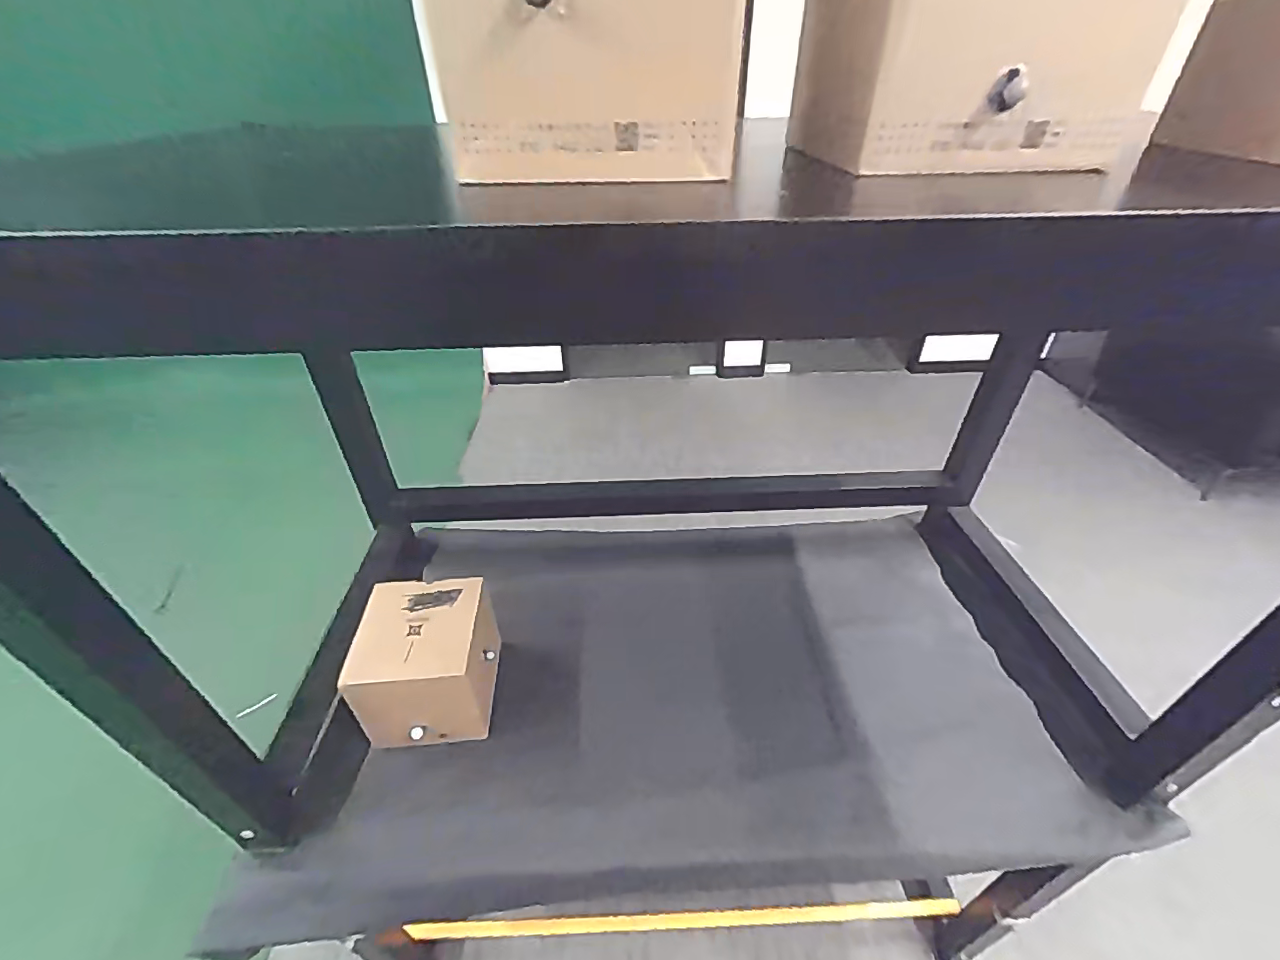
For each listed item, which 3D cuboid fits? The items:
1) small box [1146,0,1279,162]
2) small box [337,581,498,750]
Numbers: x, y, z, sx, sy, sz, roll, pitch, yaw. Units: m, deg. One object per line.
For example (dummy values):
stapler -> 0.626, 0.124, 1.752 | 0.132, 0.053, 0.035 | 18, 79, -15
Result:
small box -> 0.478, -0.291, 0.323 | 0.168, 0.176, 0.179 | 4, 37, 7
small box -> -0.316, 0.276, 0.814 | 0.168, 0.176, 0.179 | -4, 37, -3
